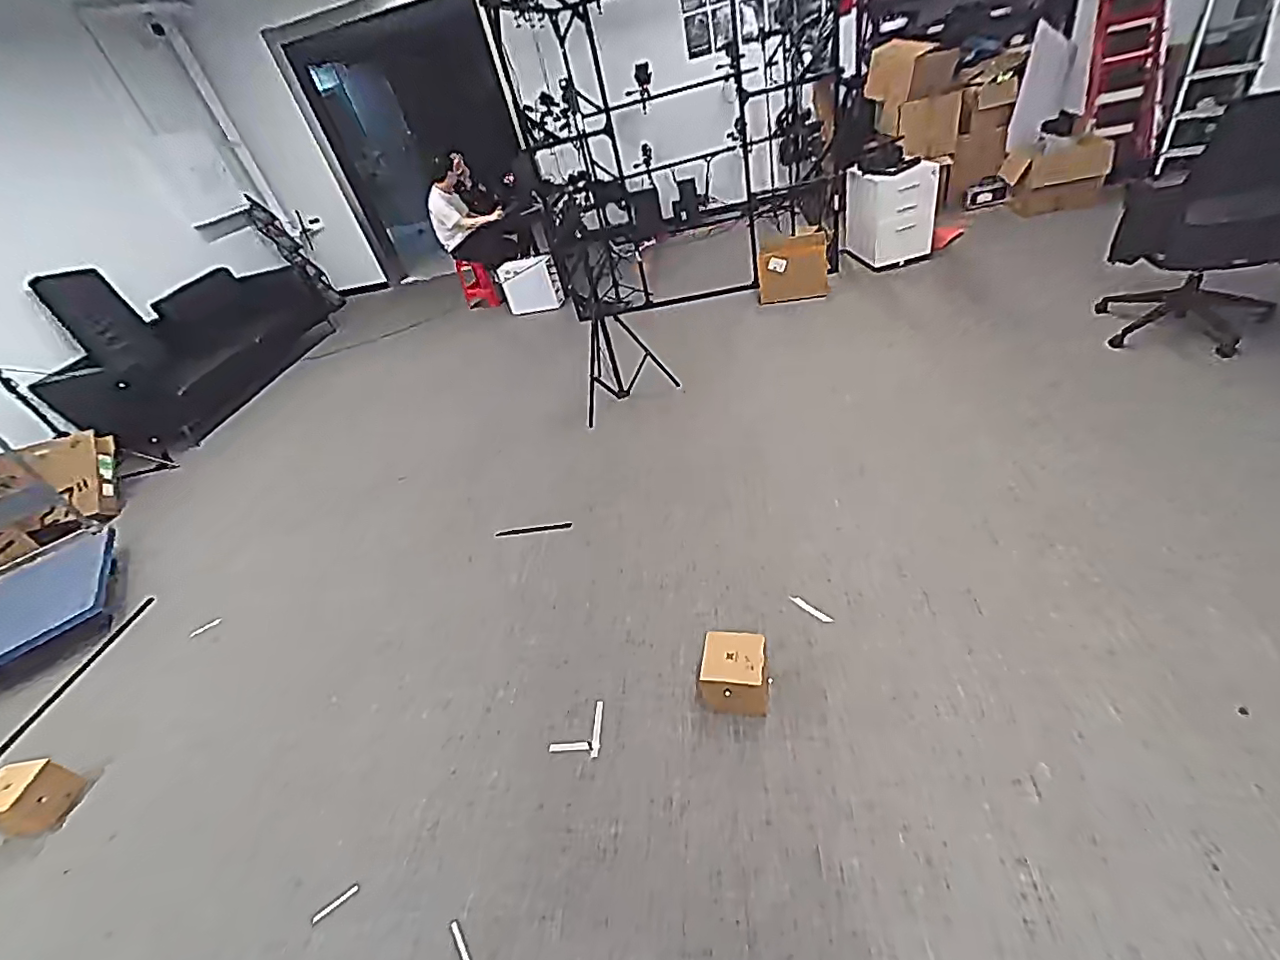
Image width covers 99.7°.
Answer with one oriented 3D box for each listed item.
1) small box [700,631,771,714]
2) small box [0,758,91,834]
[{"bbox_3d":[0.289,0.571,1.602,0.179,0.176,0.168,-1,40,19],"label":"small box"},{"bbox_3d":[-2.045,1.067,1.825,0.179,0.176,0.168,-12,37,6],"label":"small box"}]
